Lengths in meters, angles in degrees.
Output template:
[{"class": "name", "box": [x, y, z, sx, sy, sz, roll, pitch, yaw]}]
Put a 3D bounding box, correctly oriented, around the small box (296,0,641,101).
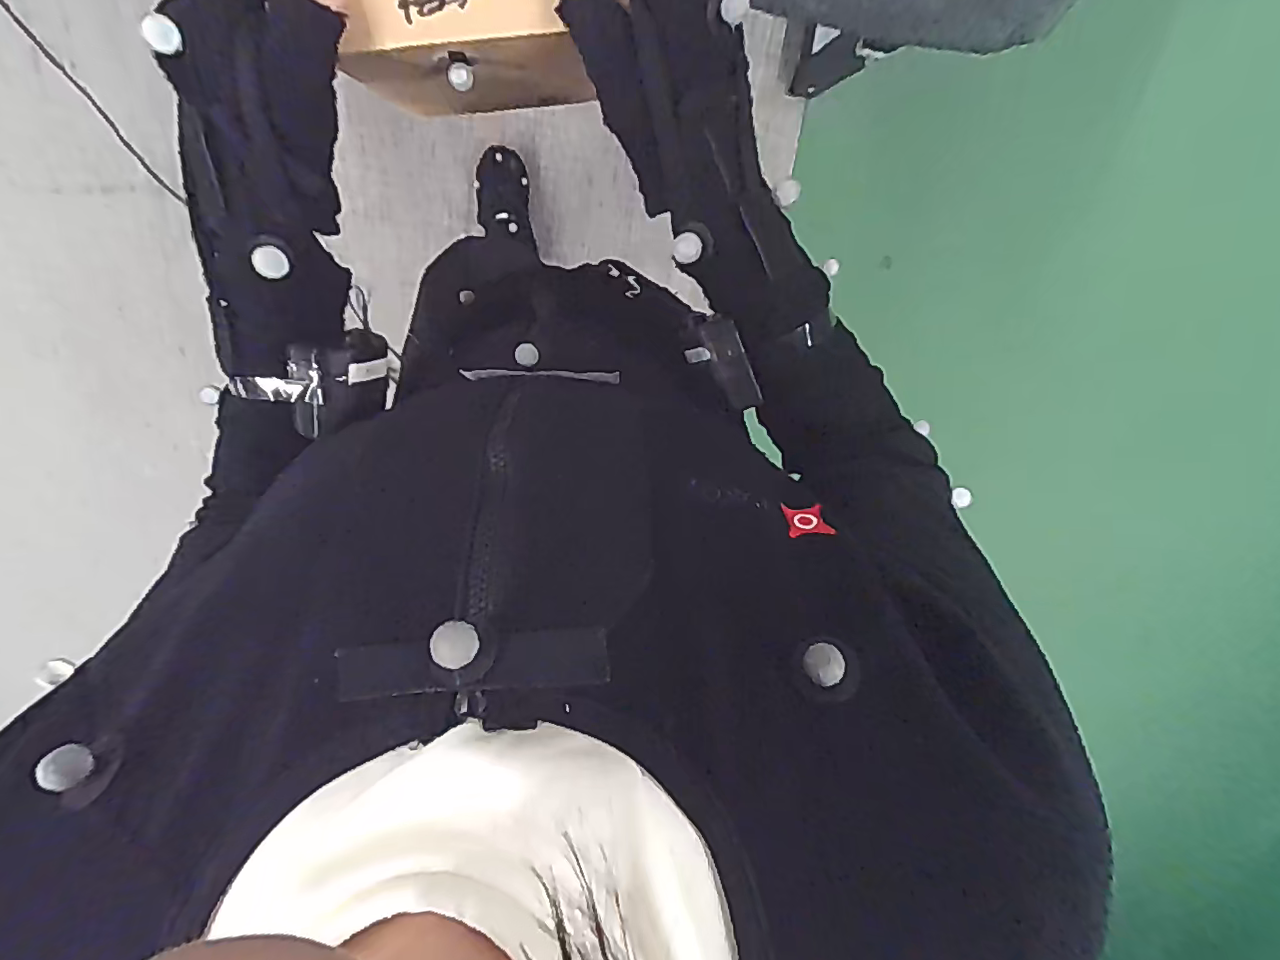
[{"class": "small box", "box": [-0.093, -0.335, 0.297, 0.168, 0.176, 0.179, -6, 116, -2]}]
